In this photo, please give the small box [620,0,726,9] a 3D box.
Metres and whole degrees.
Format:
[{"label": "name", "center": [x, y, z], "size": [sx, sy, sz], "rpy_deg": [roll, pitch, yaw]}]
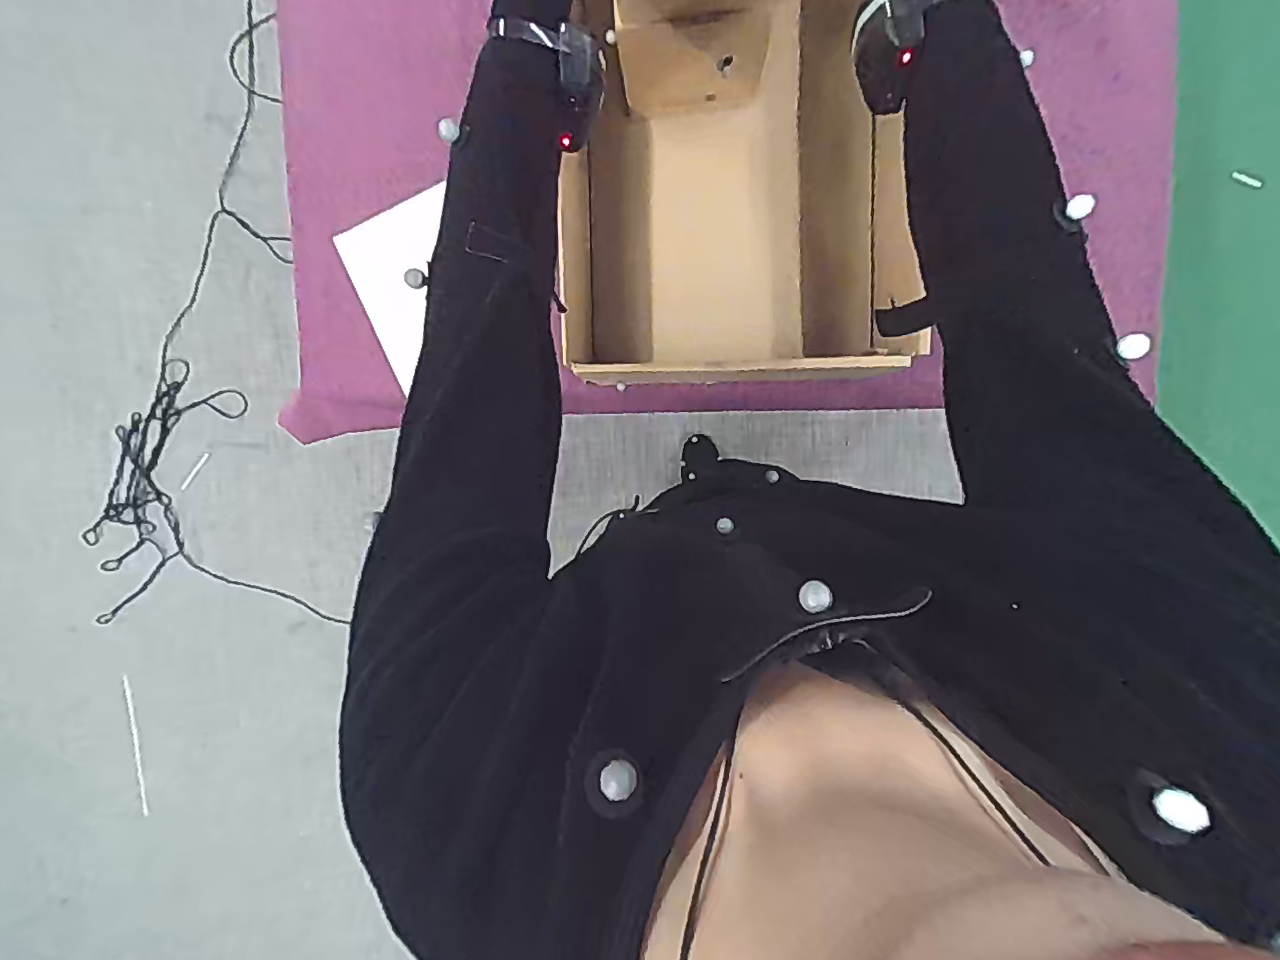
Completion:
[{"label": "small box", "center": [0.056, -0.540, 0.442], "size": [0.179, 0.176, 0.168], "rpy_deg": [-4, 95, 4]}]
